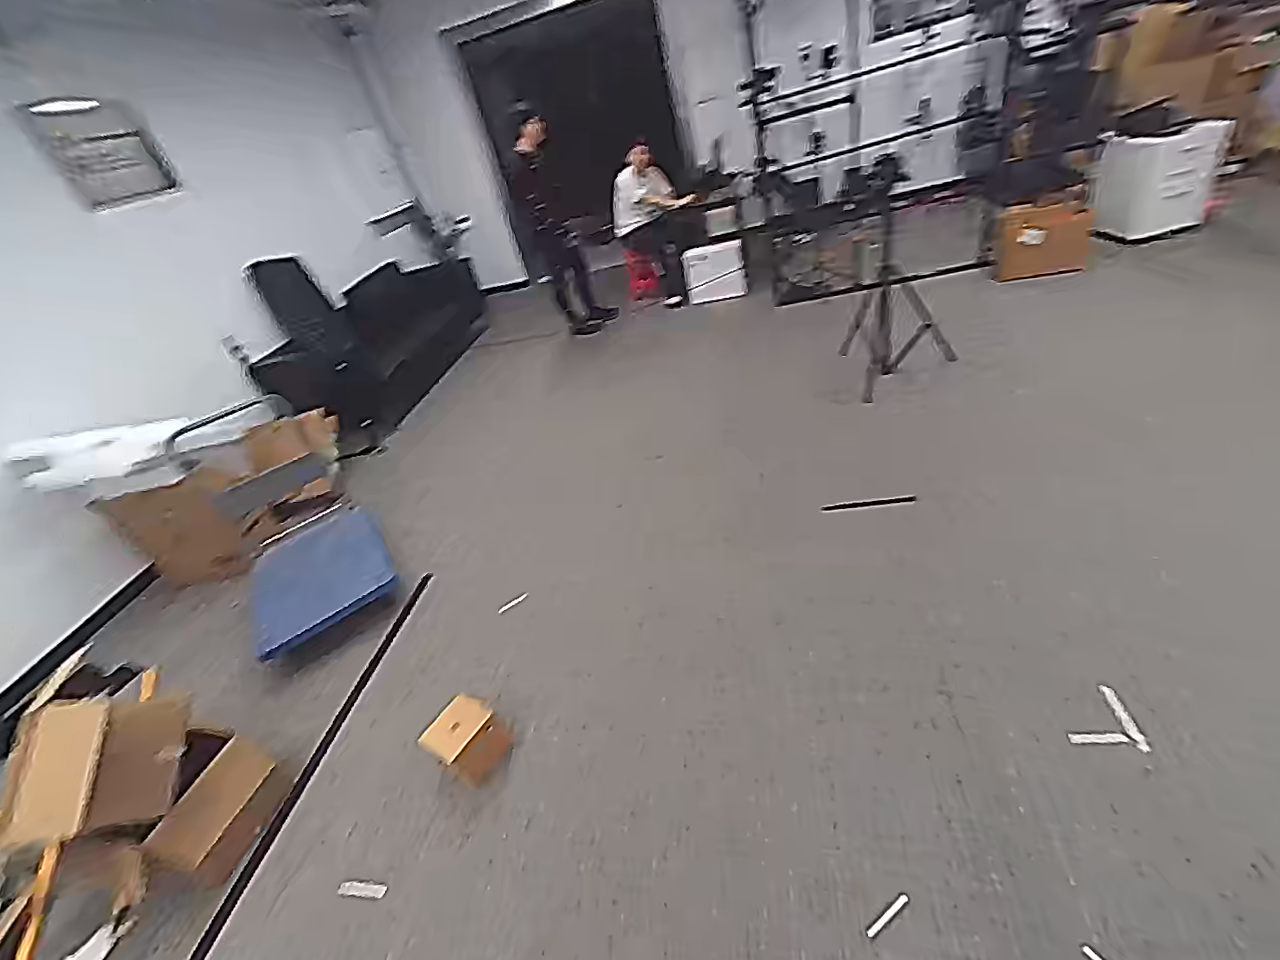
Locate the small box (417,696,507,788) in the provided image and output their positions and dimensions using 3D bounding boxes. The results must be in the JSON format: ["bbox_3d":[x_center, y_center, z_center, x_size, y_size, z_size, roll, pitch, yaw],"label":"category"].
[{"bbox_3d":[-0.550,0.822,1.693,0.168,0.176,0.179,10,42,34],"label":"small box"}]
